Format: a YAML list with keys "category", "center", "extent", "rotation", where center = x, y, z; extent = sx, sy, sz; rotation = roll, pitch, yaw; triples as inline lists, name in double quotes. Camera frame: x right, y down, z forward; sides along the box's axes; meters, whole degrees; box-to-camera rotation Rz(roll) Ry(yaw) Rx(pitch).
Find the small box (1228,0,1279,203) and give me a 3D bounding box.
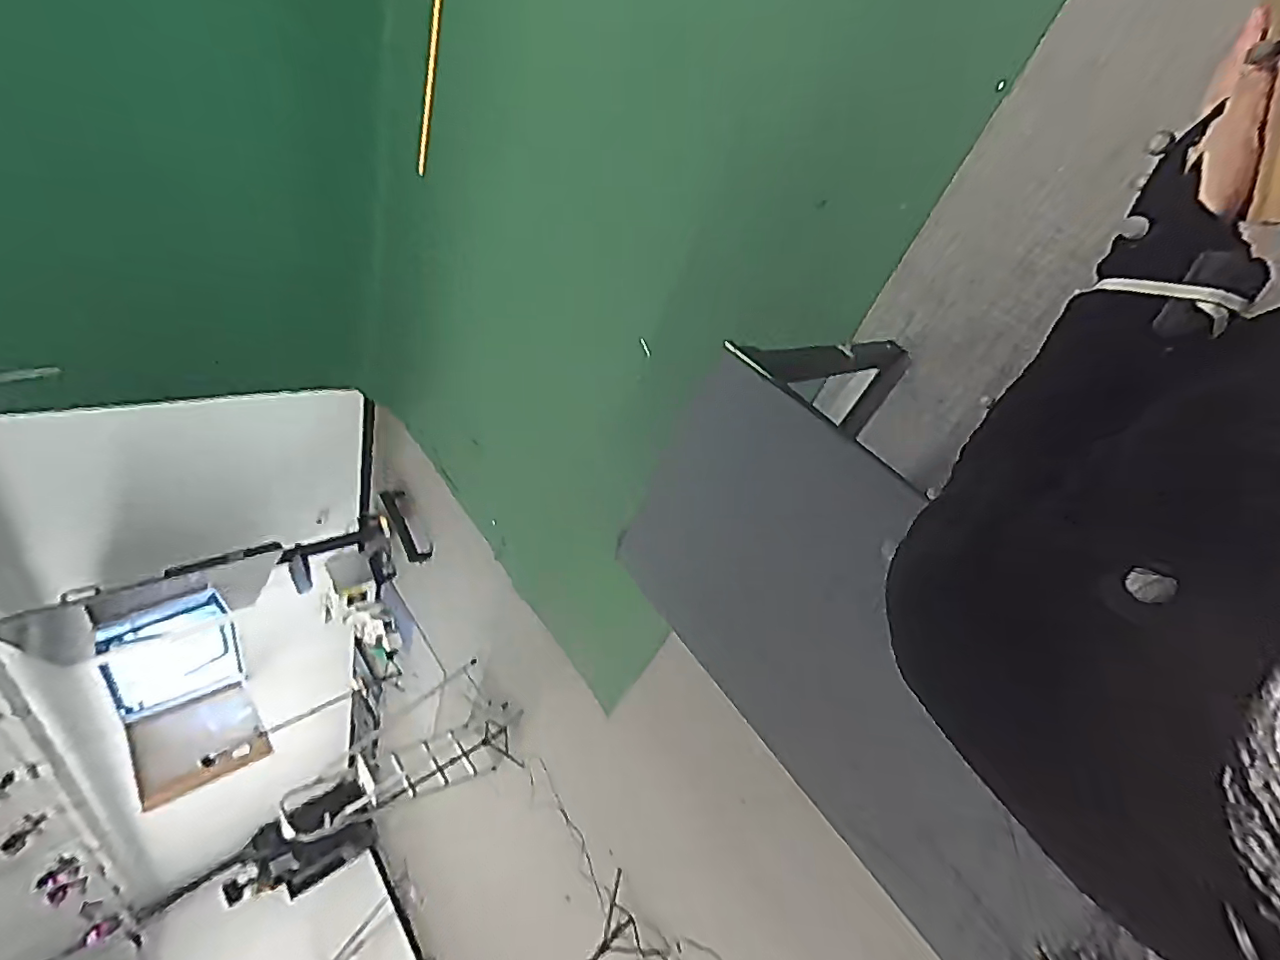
- category: "small box"
  center: [0.468, -0.264, 0.298]
  extent: [0.168, 0.176, 0.179]
  rotation: [6, 116, 39]
